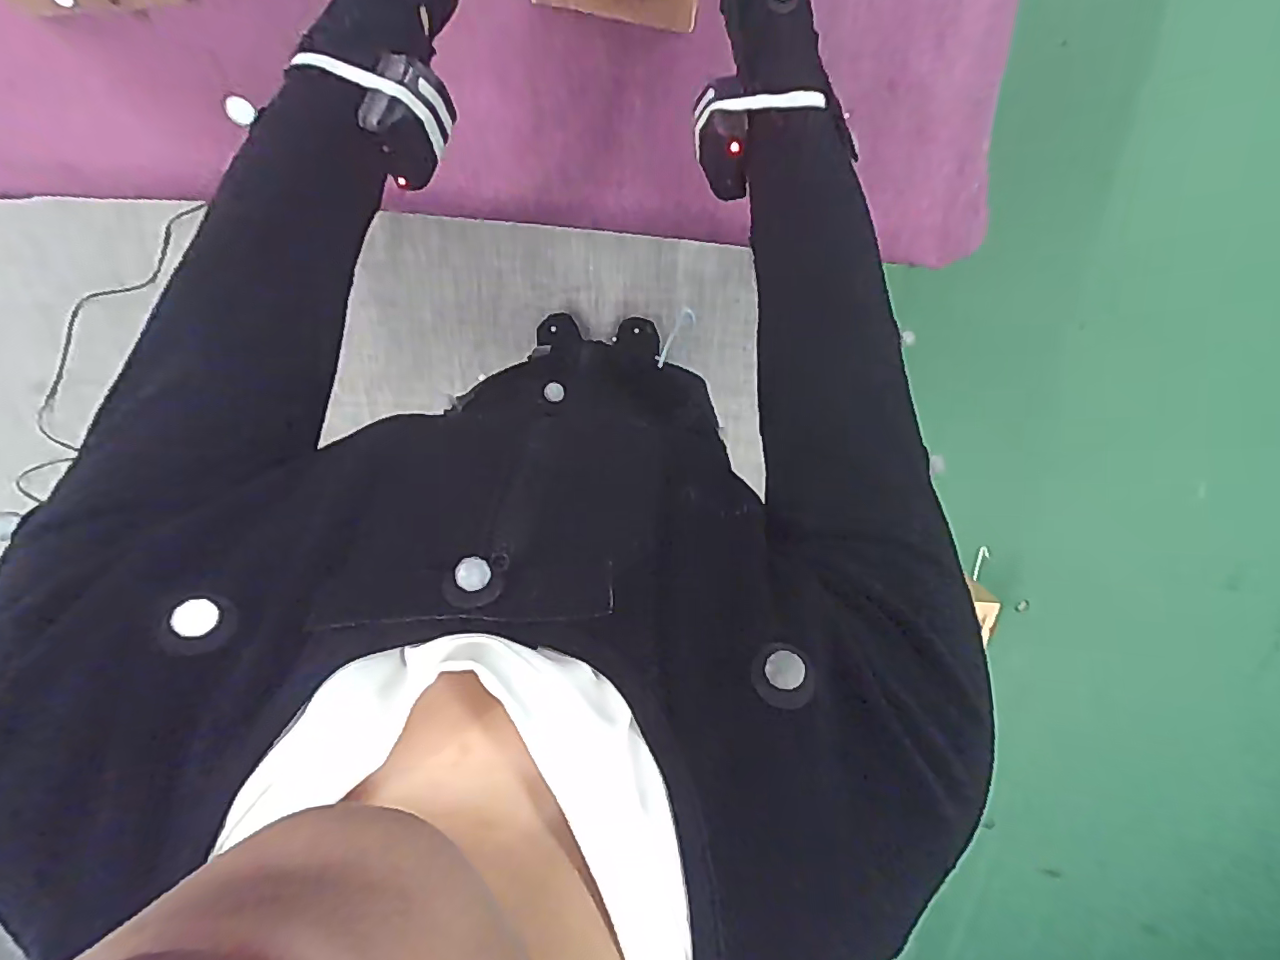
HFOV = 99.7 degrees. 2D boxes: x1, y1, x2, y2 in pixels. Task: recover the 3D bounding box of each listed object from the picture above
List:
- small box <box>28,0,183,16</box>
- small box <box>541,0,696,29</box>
[{"bbox_3d":[-0.556,-0.547,0.464,0.168,0.176,0.179,-3,109,1],"label":"small box"},{"bbox_3d":[-0.019,-0.539,0.472,0.179,0.176,0.168,8,109,-4],"label":"small box"}]
